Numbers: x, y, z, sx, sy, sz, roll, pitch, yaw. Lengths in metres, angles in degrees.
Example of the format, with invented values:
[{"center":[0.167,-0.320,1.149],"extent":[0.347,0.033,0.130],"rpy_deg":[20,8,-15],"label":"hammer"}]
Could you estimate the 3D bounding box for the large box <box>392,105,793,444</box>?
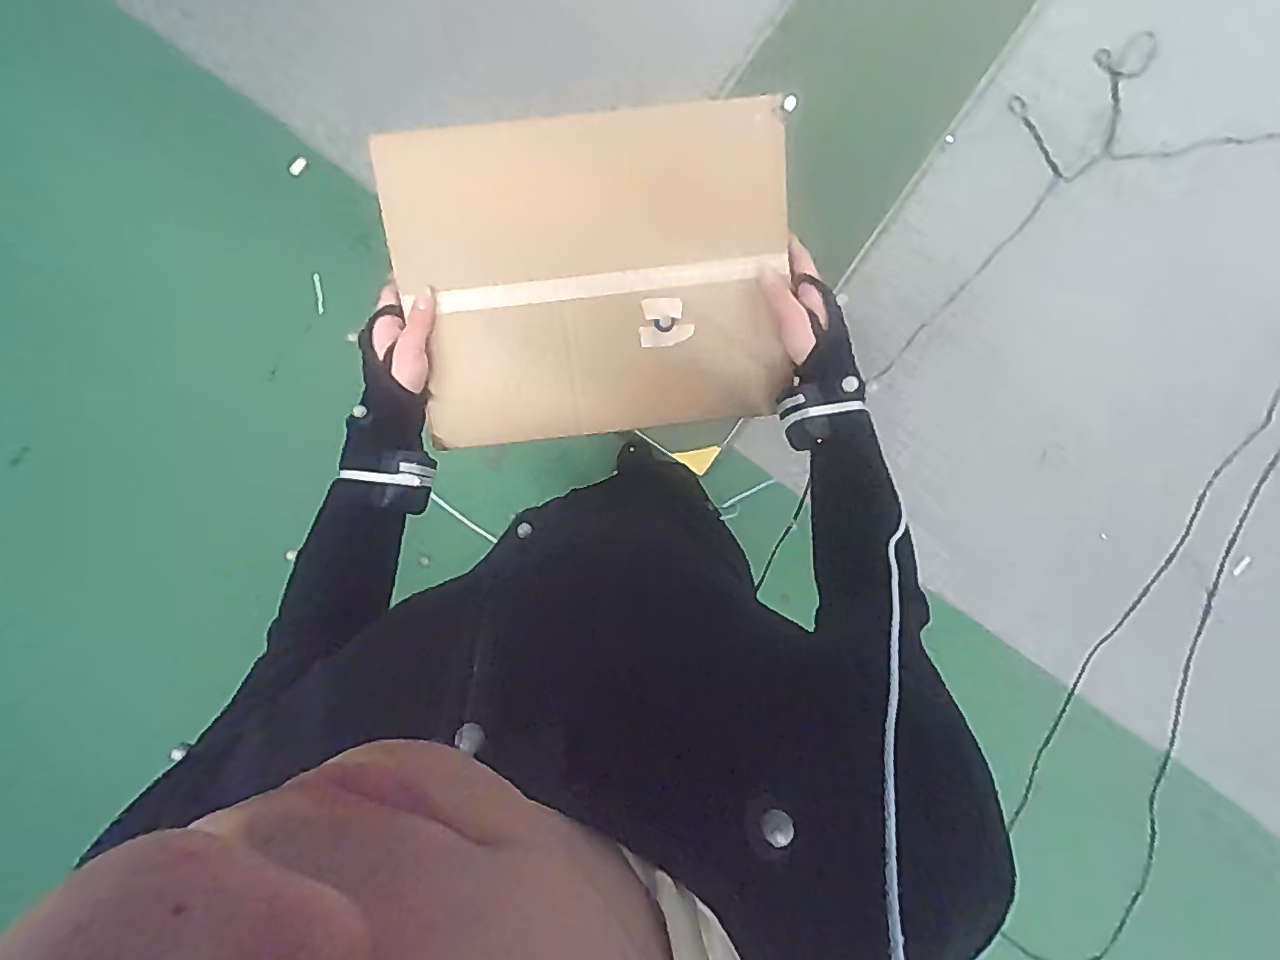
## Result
[{"center":[-0.046,-0.244,0.722],"extent":[0.408,0.320,0.320],"rpy_deg":[-6,104,-2],"label":"large box"}]
